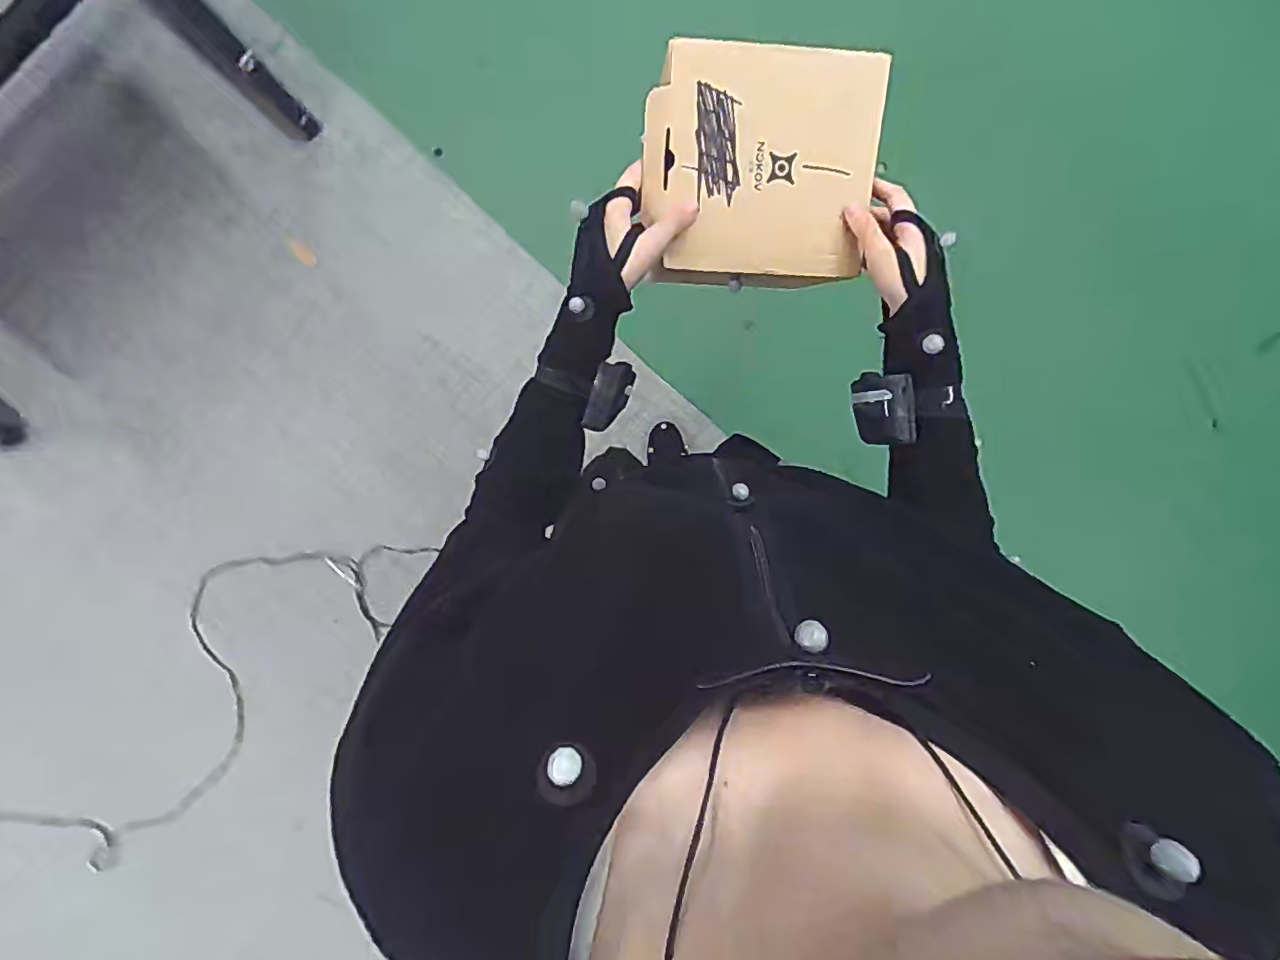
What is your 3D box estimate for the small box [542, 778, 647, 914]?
[{"bbox_3d":[-0.102,0.842,1.264,0.179,0.176,0.168,32,91,-4],"label":"small box"}]
